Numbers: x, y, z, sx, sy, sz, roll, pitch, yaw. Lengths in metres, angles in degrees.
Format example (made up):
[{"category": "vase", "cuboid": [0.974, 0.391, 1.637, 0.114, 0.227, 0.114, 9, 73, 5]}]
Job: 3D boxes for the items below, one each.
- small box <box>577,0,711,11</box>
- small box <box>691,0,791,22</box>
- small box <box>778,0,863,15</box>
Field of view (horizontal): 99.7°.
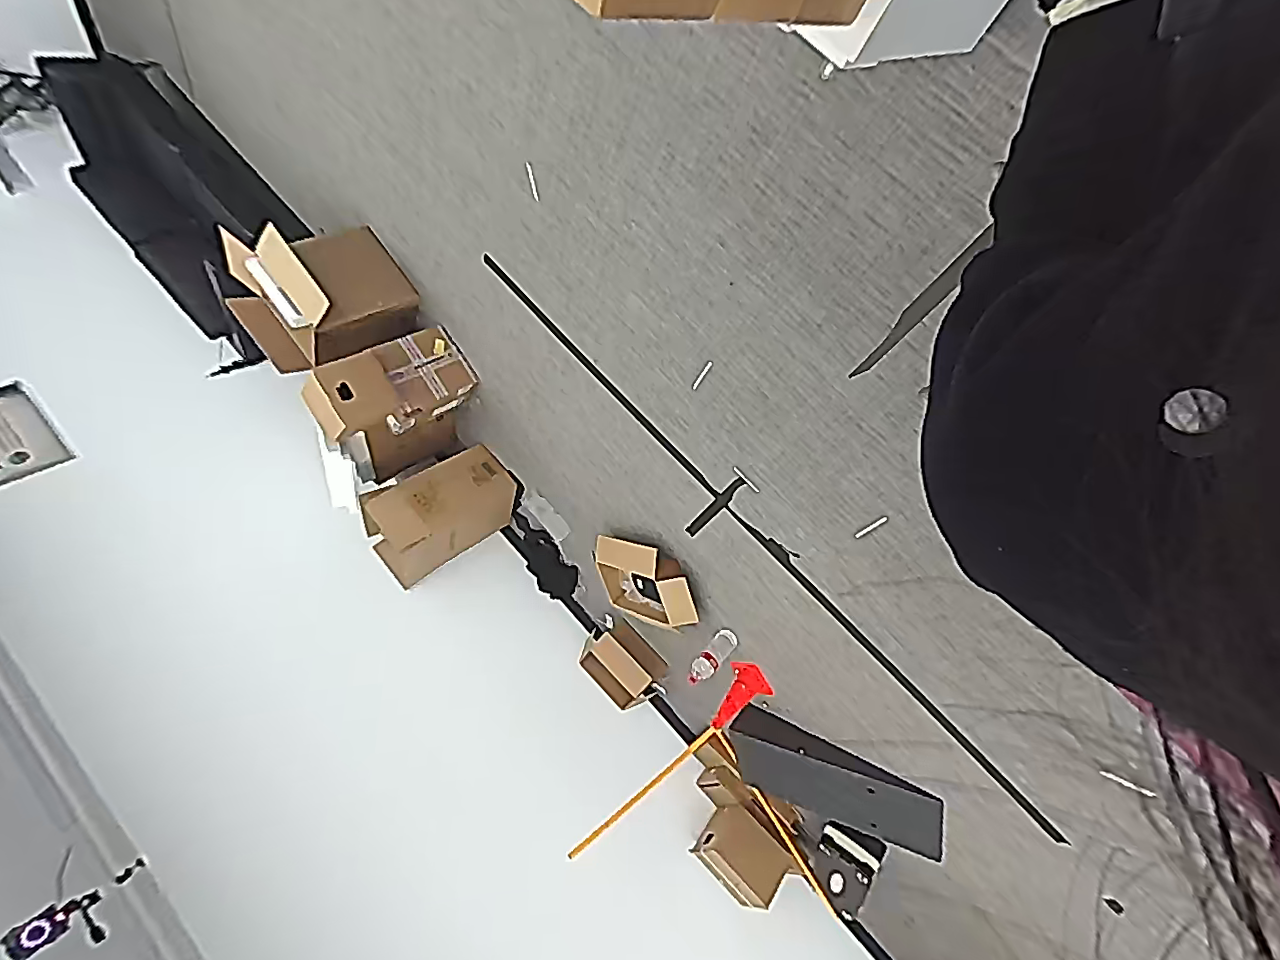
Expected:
[{"category": "small box", "cuboid": [-0.014, -0.519, 0.436, 0.179, 0.176, 0.168, 46, 145, 10]}, {"category": "small box", "cuboid": [0.094, -0.596, 0.530, 0.179, 0.176, 0.168, 47, 145, 10]}, {"category": "small box", "cuboid": [0.200, -0.677, 0.625, 0.179, 0.176, 0.168, 48, 144, 9]}]
